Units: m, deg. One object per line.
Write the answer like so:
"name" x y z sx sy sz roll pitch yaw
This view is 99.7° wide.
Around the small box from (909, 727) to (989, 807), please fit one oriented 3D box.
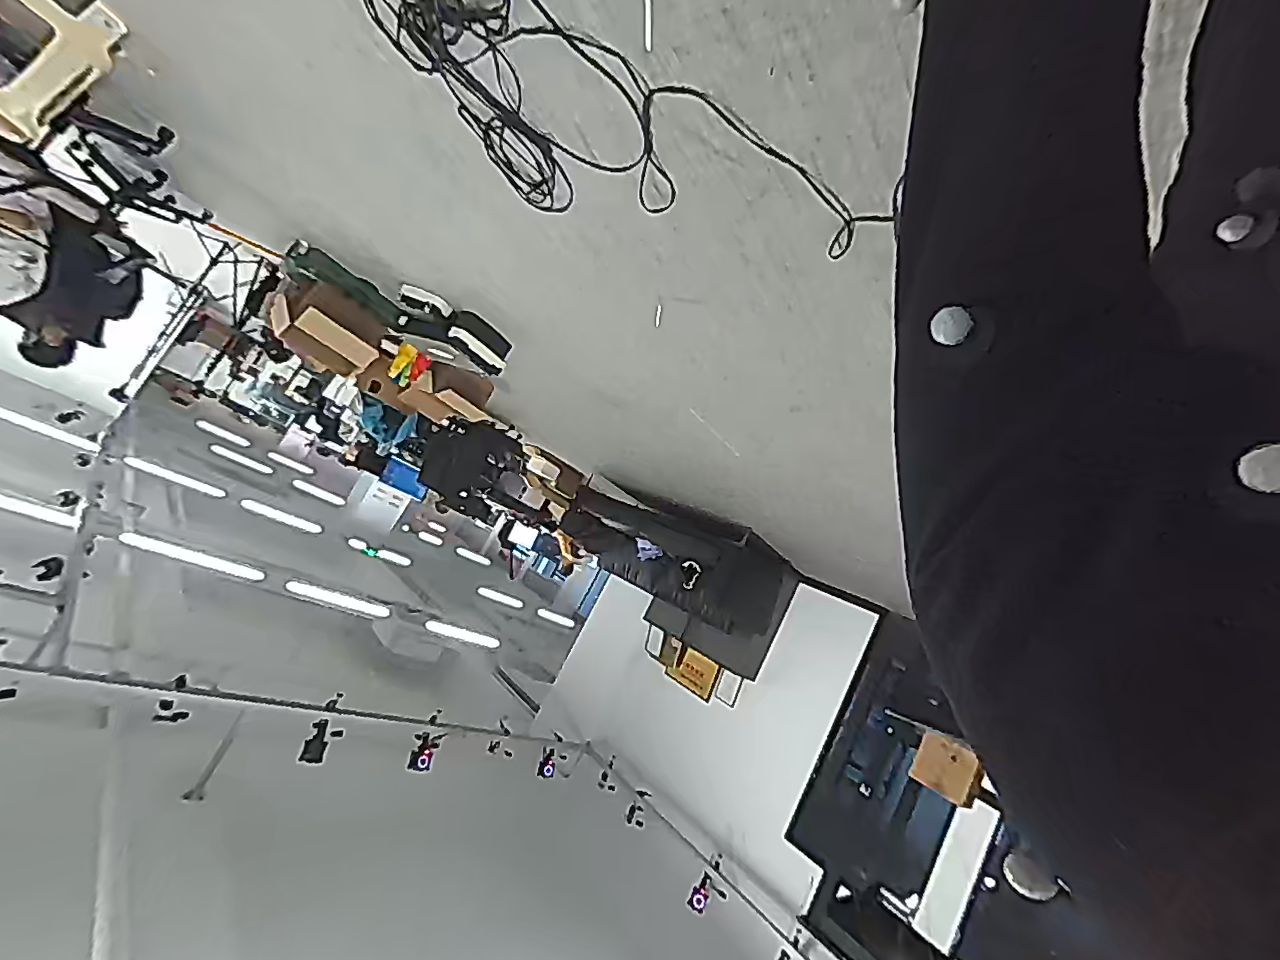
"small box" 1.021 0.941 1.776 0.168 0.176 0.179 19 167 46
